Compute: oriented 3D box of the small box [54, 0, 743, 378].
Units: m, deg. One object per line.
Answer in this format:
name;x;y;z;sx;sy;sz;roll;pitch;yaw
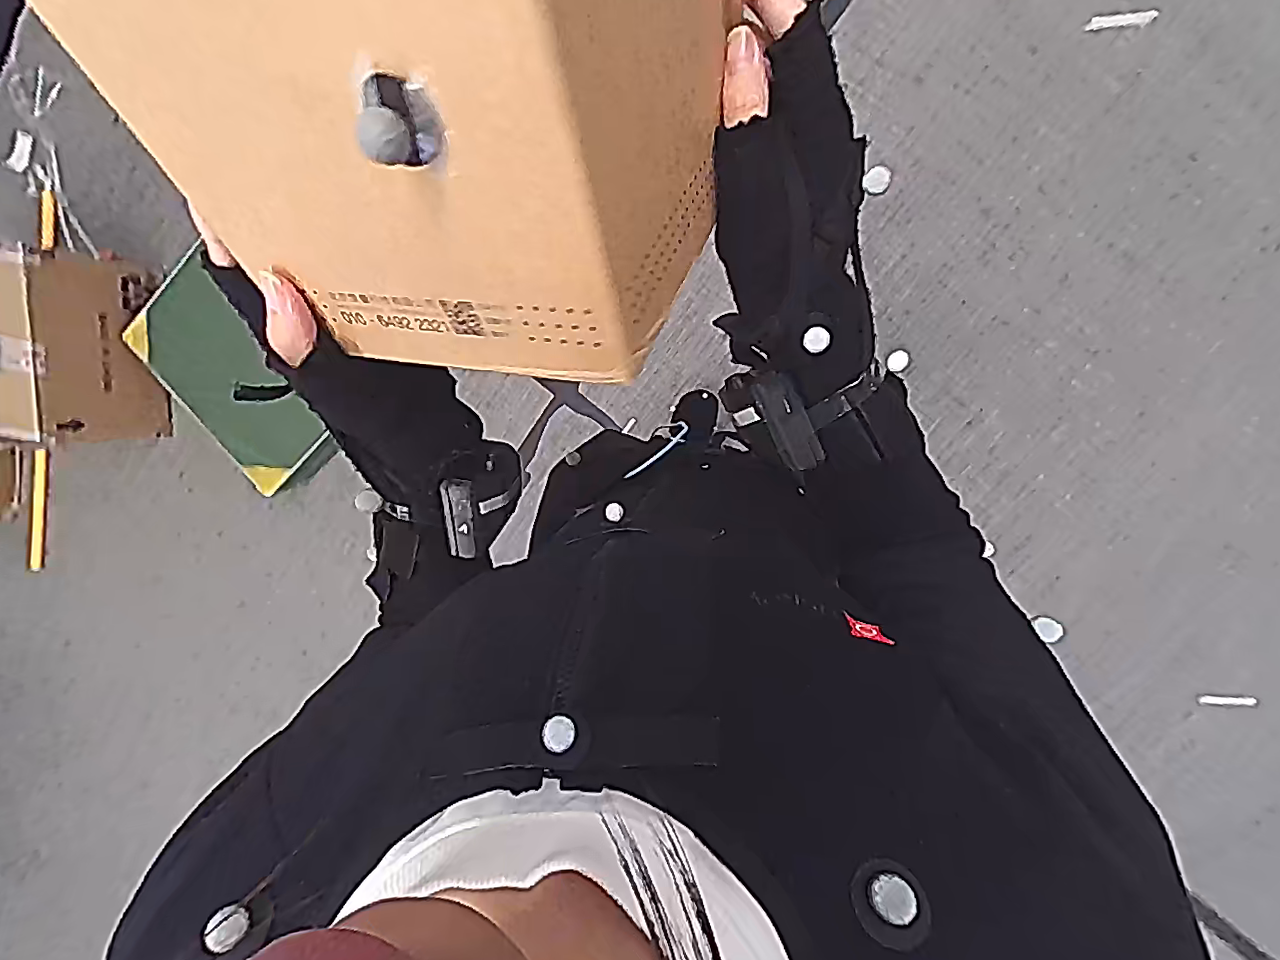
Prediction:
small box;-0.057;-0.161;0.210;0.168;0.179;0.176;10;144;19
